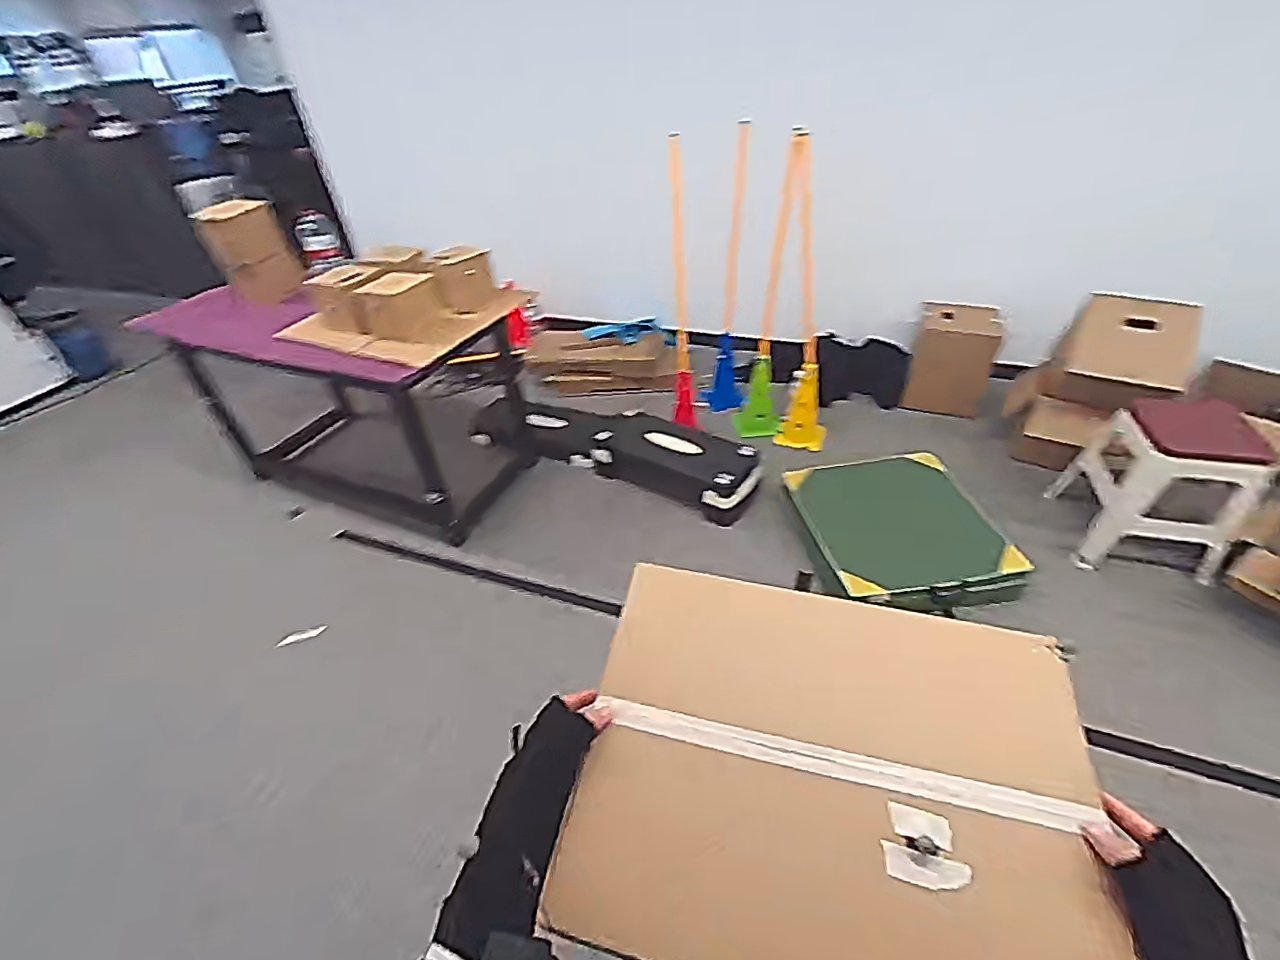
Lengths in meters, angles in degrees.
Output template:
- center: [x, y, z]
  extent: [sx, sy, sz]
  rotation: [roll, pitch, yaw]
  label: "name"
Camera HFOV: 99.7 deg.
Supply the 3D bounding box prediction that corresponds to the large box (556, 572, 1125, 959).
- center: [0.165, 0.337, 0.573]
  extent: [0.408, 0.320, 0.320]
  rotation: [9, 50, 11]
  label: "large box"
